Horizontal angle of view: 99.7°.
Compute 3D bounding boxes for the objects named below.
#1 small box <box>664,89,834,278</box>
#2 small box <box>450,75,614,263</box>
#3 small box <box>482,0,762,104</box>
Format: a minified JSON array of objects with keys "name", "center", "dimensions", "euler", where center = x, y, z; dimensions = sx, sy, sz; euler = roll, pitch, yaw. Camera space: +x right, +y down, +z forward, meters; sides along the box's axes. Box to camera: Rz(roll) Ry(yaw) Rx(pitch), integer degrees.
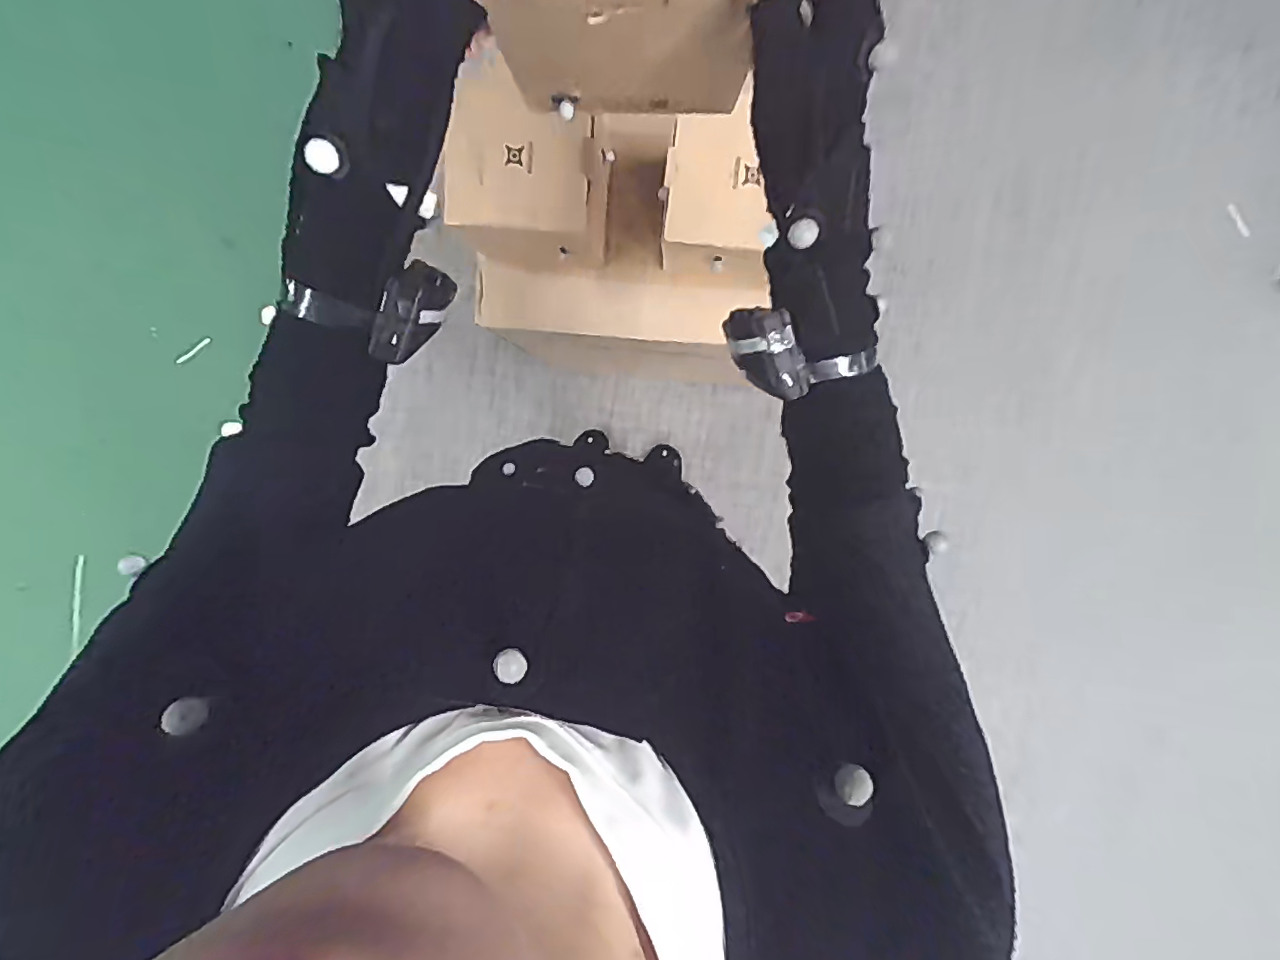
[{"name":"small box","center":[0.129,-0.369,0.701],"dimensions":[0.179,0.176,0.168],"euler":[7,99,3]},{"name":"small box","center":[-0.132,-0.395,0.714],"dimensions":[0.179,0.176,0.168],"euler":[5,98,4]},{"name":"small box","center":[-0.006,-0.365,0.340],"dimensions":[0.168,0.176,0.179],"euler":[0,104,-1]}]
